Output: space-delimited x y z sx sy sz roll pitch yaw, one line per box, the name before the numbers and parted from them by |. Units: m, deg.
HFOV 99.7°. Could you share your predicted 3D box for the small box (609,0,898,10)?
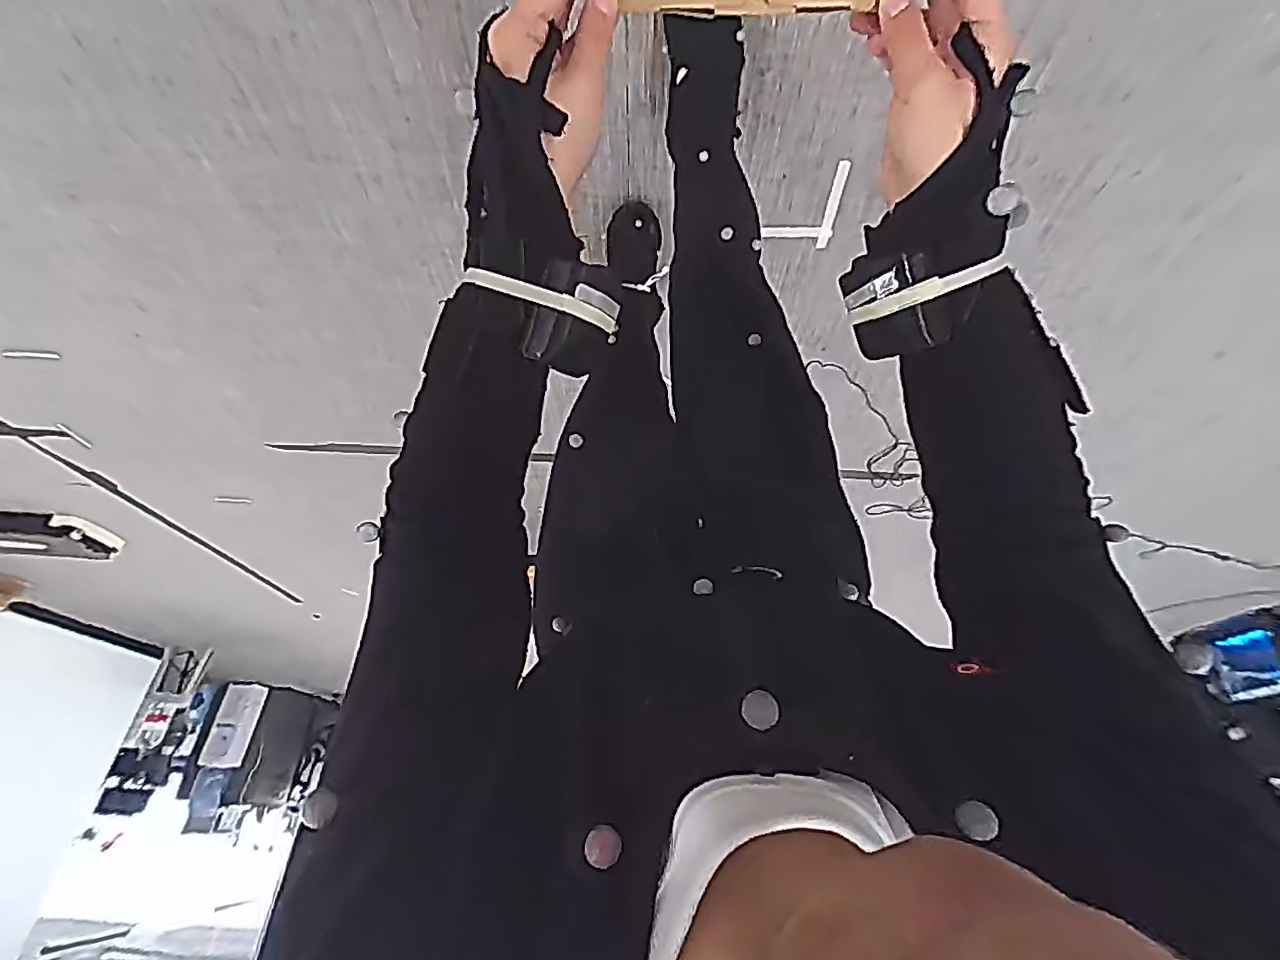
small box | 0.057 -0.373 0.278 0.168 0.176 0.179 -2 141 -2
